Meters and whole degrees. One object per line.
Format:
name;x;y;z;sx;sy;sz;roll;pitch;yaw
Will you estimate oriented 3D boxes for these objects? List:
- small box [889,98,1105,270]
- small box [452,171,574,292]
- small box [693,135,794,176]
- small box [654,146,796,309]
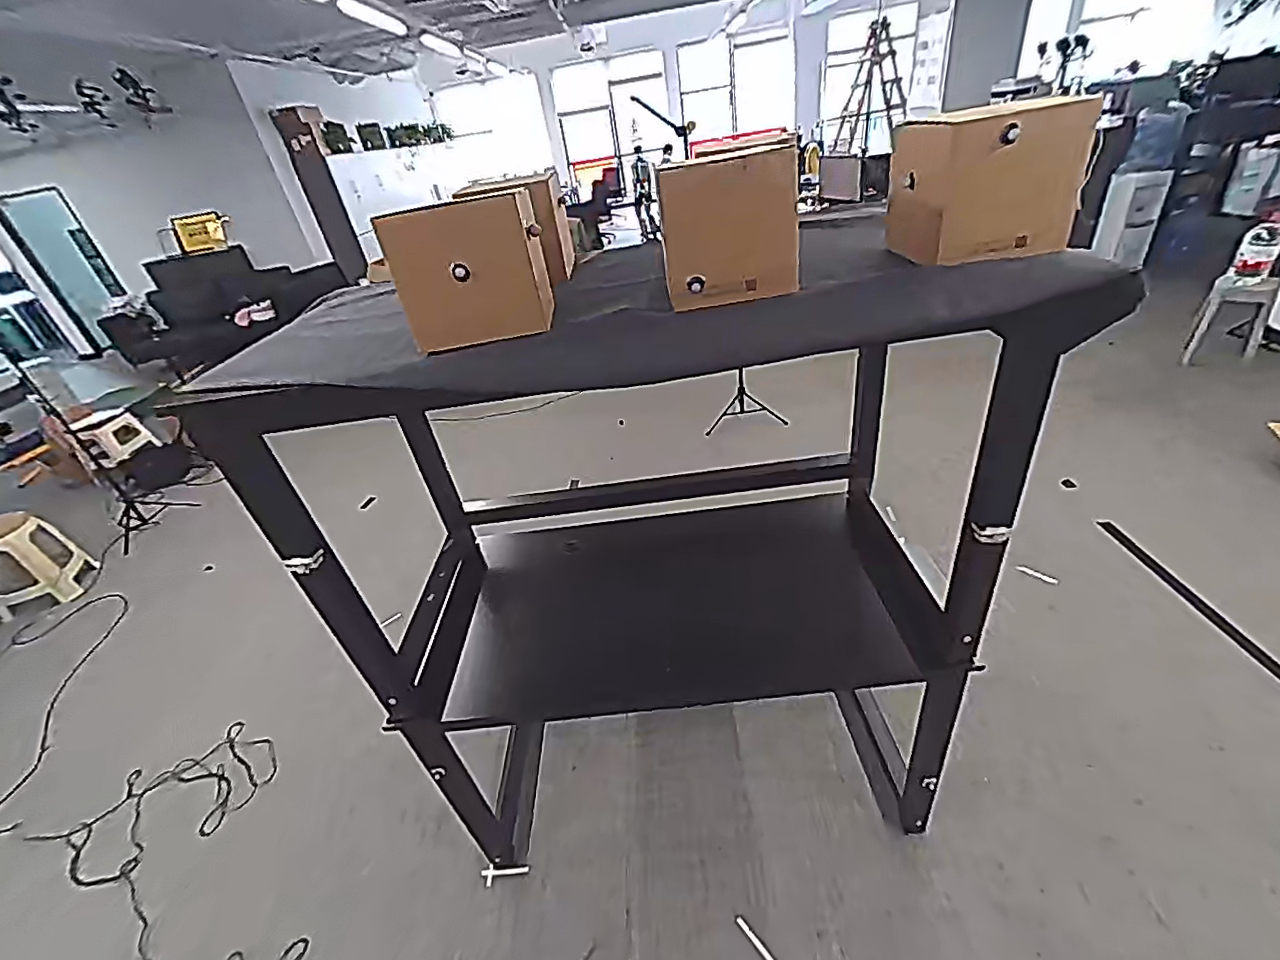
small box;0.449;-0.388;0.719;0.168;0.176;0.179;-8;32;4
small box;-0.223;-0.456;1.000;0.168;0.176;0.179;-7;34;3
small box;0.186;-0.513;0.984;0.168;0.176;0.179;-4;33;8
small box;0.112;-0.339;0.734;0.168;0.176;0.179;-7;31;4
